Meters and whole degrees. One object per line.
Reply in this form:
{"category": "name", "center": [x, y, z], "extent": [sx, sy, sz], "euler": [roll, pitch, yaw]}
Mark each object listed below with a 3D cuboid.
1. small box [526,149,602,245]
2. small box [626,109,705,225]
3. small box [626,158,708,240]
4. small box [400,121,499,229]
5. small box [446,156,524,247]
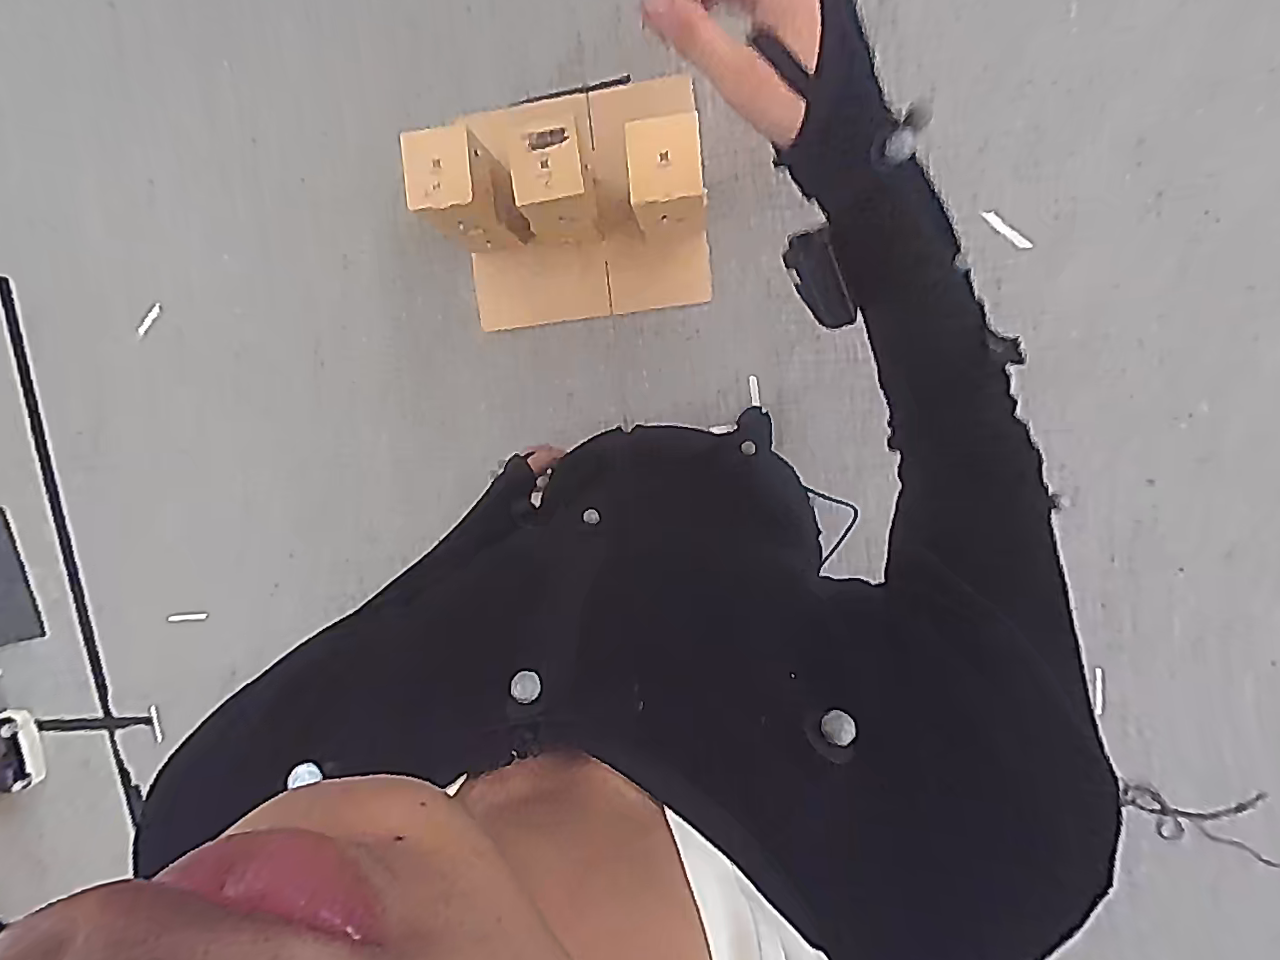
{"category": "small box", "center": [-0.200, -0.756, 1.459], "extent": [0.168, 0.176, 0.179], "euler": [-2, 97, 7]}
{"category": "small box", "center": [0.064, -0.723, 1.266], "extent": [0.168, 0.176, 0.179], "euler": [-4, 98, 7]}
{"category": "small box", "center": [0.078, -0.757, 1.425], "extent": [0.179, 0.176, 0.168], "euler": [-14, 96, 8]}
{"category": "small box", "center": [-0.460, -0.739, 1.326], "extent": [0.168, 0.176, 0.179], "euler": [-2, 98, 8]}
{"category": "small box", "center": [-0.428, -0.755, 1.488], "extent": [0.168, 0.176, 0.179], "euler": [-3, 98, 8]}
